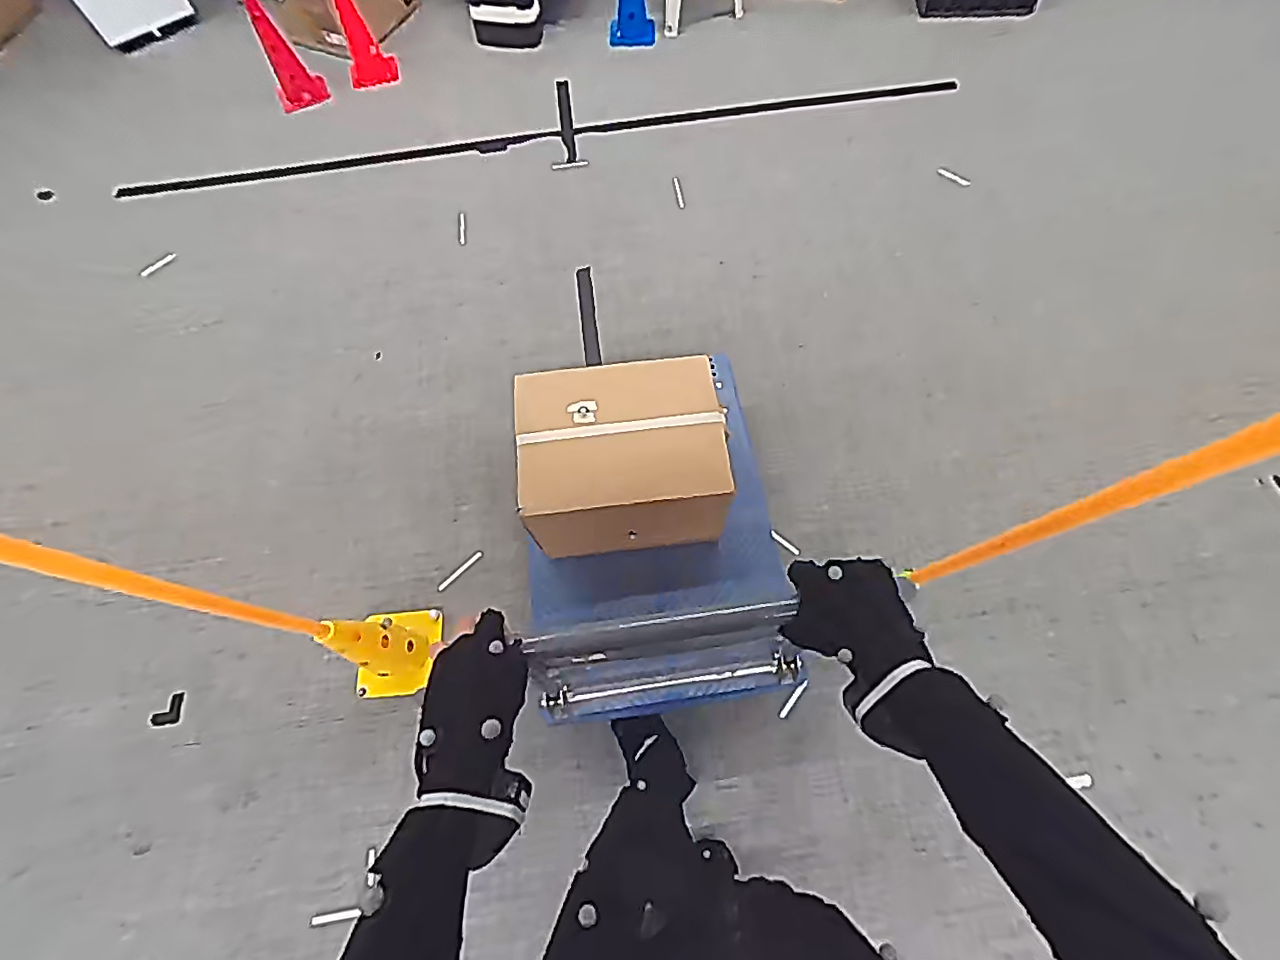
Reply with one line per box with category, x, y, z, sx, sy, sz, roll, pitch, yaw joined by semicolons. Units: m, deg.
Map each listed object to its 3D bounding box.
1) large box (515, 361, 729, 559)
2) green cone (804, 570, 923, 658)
large box;-0.039;-0.028;1.208;0.408;0.320;0.320;-7;67;0
green cone;0.527;0.272;1.212;0.202;0.368;0.200;-4;66;-1
